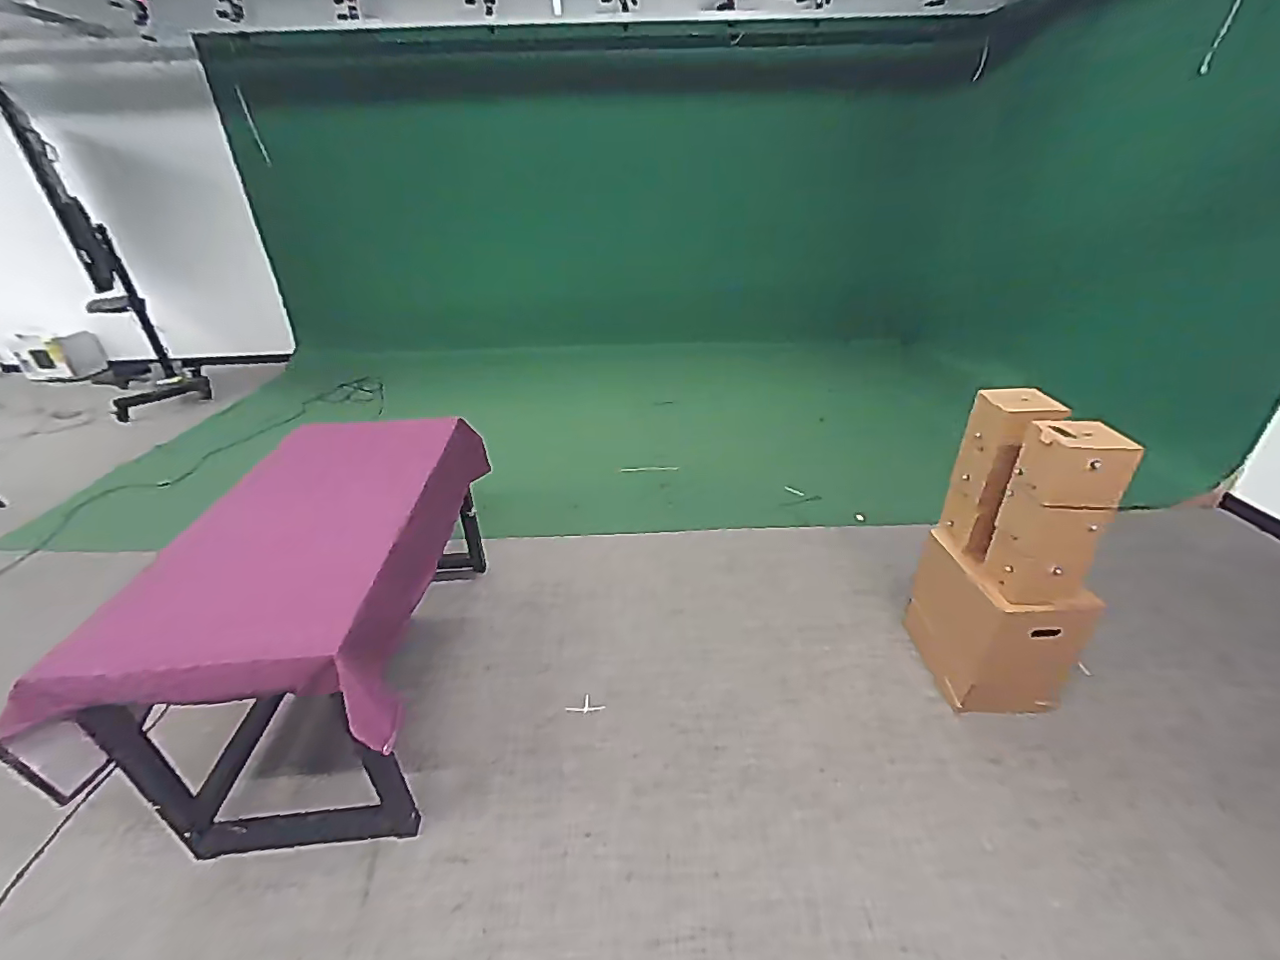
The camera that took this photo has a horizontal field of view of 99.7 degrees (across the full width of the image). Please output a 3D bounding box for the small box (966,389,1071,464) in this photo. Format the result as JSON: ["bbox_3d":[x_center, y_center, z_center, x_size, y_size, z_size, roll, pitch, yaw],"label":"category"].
[{"bbox_3d":[1.107,-0.158,1.597,0.179,0.176,0.168,-2,30,2],"label":"small box"}]

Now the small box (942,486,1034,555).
[{"bbox_3d":[1.123,0.129,1.760,0.179,0.176,0.168,-3,31,1],"label":"small box"}]

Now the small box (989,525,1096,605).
[{"bbox_3d":[1.140,0.244,1.553,0.179,0.176,0.168,0,29,2],"label":"small box"}]

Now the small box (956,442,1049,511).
[{"bbox_3d":[1.111,-0.013,1.678,0.179,0.176,0.168,-3,31,2],"label":"small box"}]
